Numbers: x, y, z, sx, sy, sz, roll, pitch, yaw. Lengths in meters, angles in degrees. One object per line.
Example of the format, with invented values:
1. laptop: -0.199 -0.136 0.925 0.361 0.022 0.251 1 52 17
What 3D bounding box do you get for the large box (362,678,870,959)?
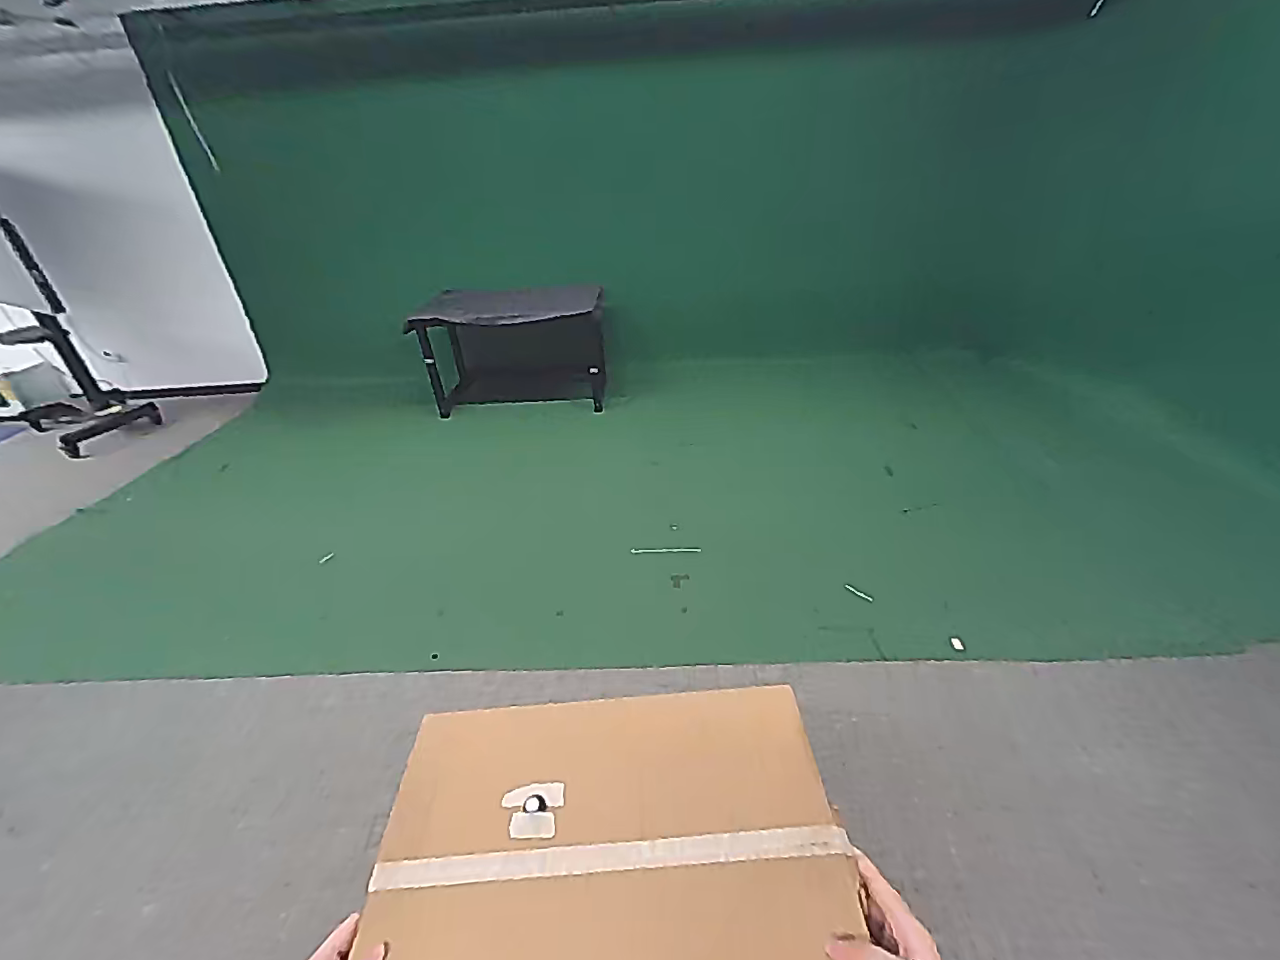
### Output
1. large box: -0.011 0.450 0.565 0.408 0.320 0.320 -7 35 2
